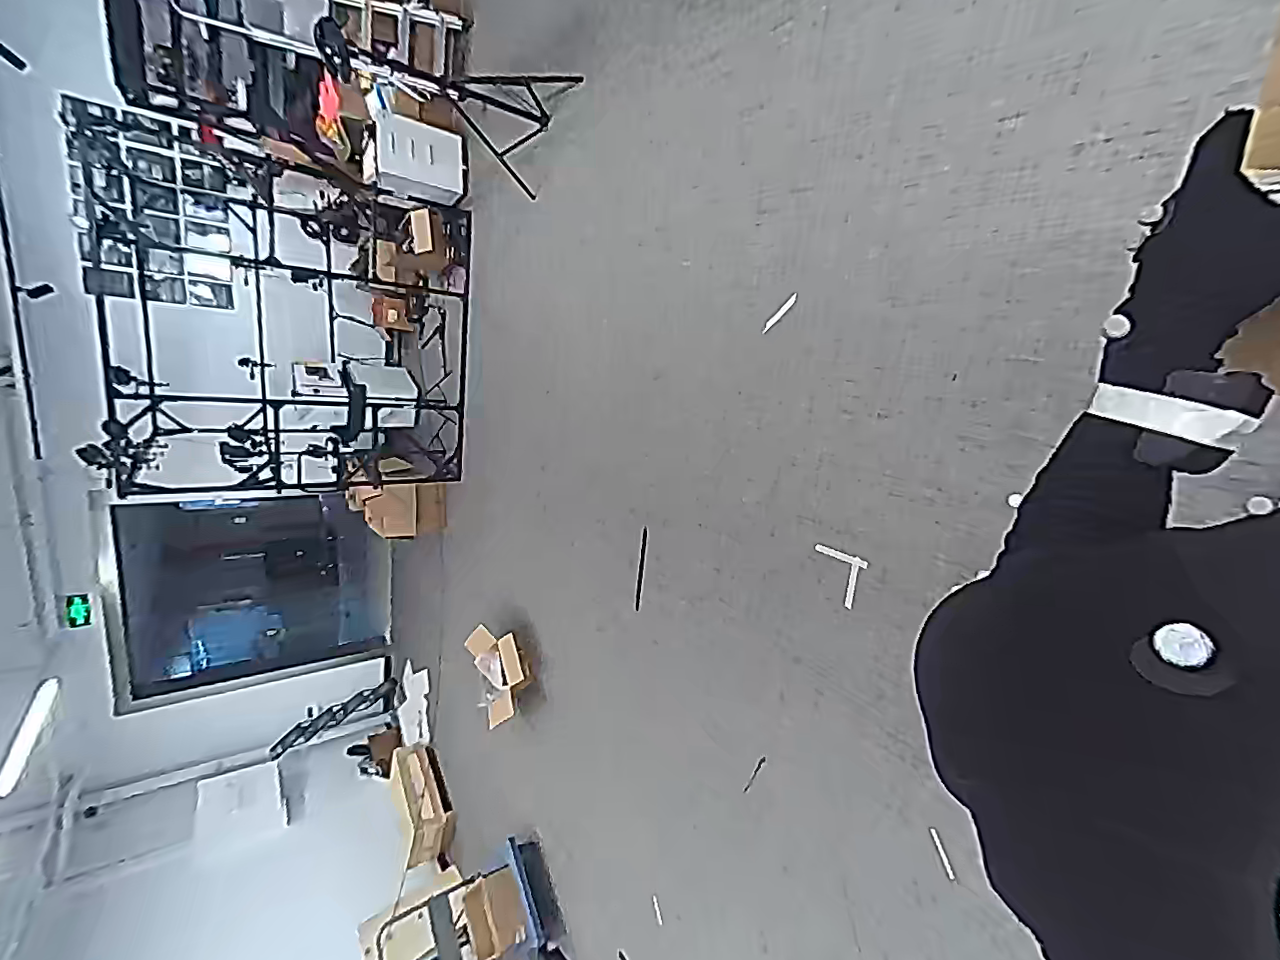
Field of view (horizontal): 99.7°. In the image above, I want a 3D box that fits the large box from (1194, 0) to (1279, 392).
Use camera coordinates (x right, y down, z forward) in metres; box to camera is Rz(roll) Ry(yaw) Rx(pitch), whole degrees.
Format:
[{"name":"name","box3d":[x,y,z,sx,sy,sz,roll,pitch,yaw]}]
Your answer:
[{"name":"large box","box3d":[0.560,-0.204,0.193,0.320,0.320,0.408,-46,41,-8]}]
